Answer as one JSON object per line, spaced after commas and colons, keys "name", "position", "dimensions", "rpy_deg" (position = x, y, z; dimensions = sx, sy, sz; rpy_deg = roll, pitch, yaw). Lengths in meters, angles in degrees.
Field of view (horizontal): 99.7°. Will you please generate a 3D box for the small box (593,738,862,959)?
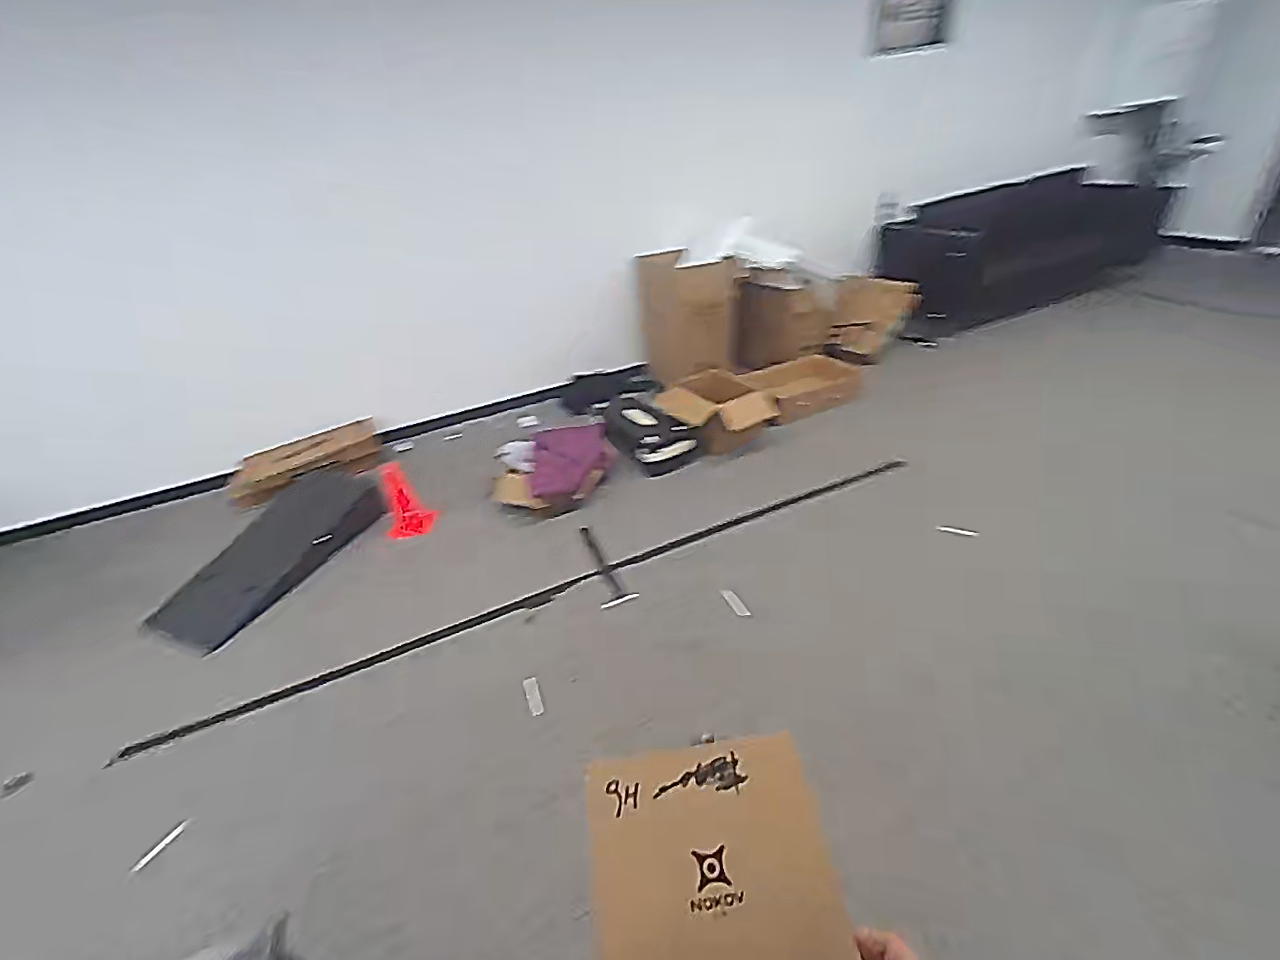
{"name": "small box", "position": [0.062, 0.329, 0.424], "dimensions": [0.168, 0.176, 0.179], "rpy_deg": [-9, 48, -1]}
